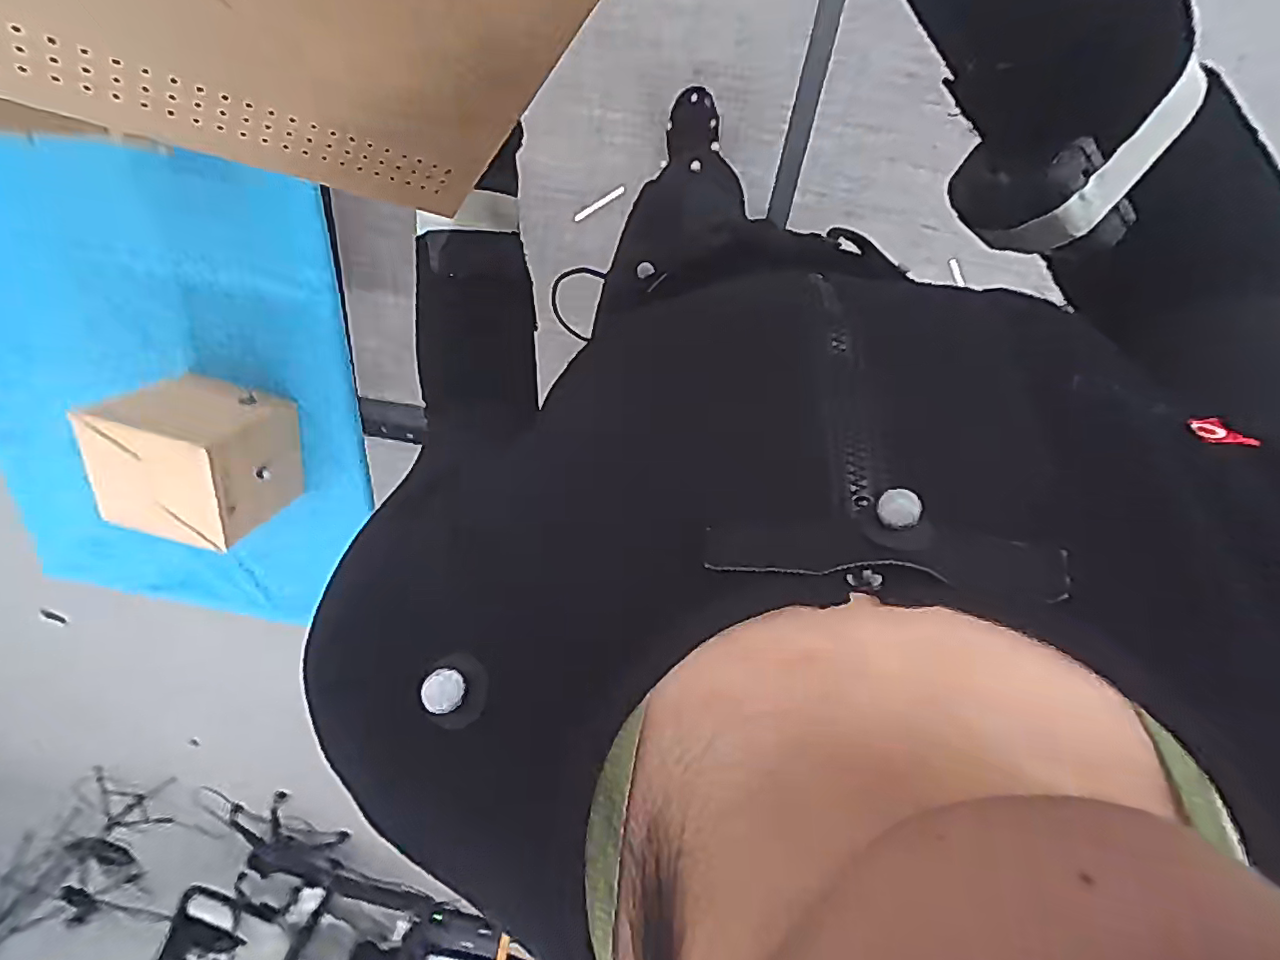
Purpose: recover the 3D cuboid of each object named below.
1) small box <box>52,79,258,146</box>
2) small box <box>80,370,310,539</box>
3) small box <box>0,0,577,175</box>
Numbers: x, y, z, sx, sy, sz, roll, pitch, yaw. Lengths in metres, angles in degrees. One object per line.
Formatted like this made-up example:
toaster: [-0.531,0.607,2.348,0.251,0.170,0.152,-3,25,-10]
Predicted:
small box: [-0.541,-0.439,0.539,0.179,0.176,0.168,10,120,4]
small box: [-0.615,-0.037,0.772,0.179,0.176,0.168,14,119,1]
small box: [-0.112,-0.226,0.152,0.176,0.179,0.168,-25,78,44]
